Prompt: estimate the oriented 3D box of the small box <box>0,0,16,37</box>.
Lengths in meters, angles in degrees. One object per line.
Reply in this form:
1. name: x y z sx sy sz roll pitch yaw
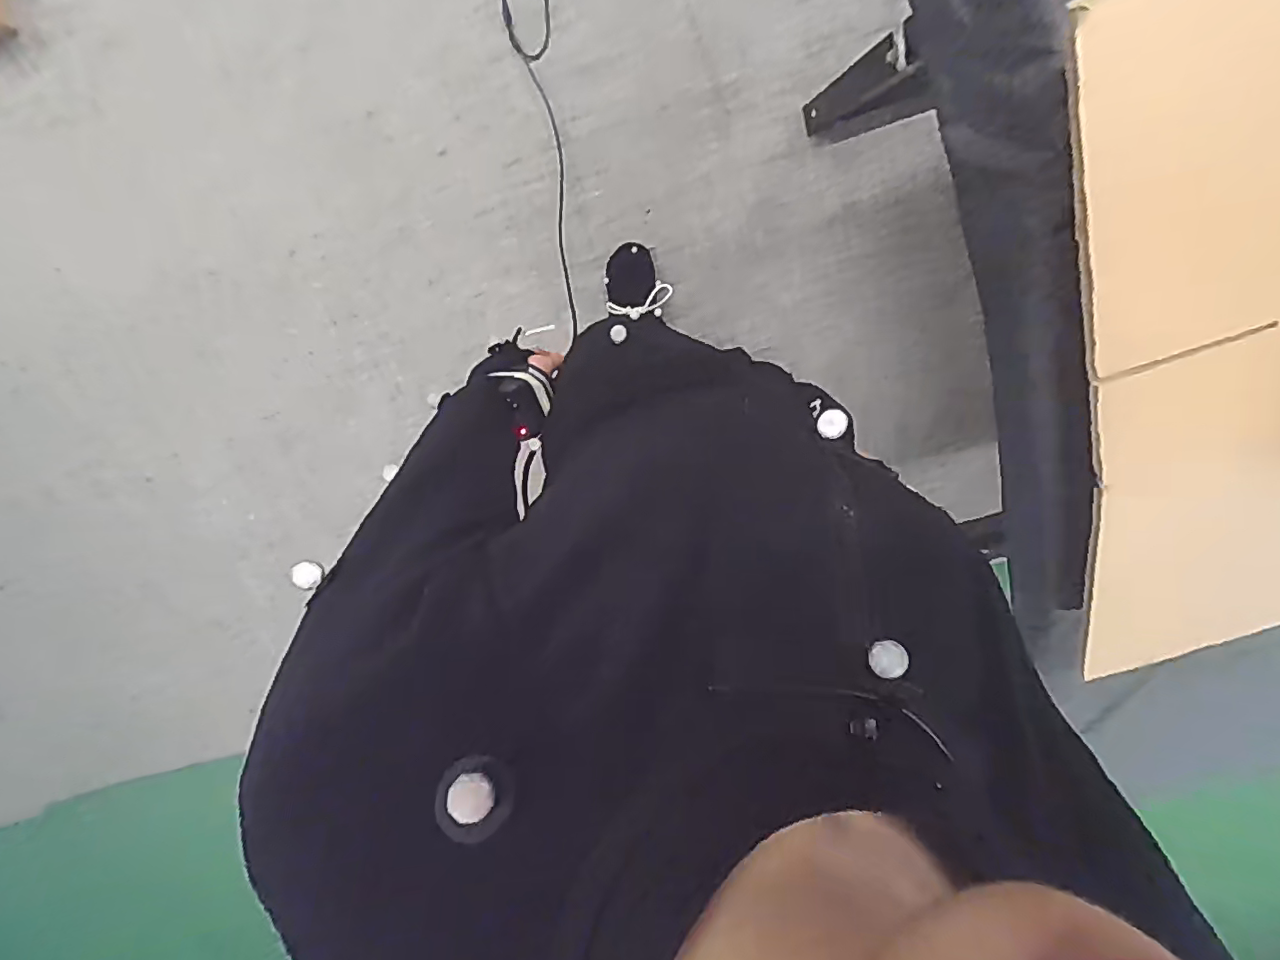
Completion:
1. small box: -1.286 -0.887 0.941 0.168 0.176 0.179 -13 113 4
